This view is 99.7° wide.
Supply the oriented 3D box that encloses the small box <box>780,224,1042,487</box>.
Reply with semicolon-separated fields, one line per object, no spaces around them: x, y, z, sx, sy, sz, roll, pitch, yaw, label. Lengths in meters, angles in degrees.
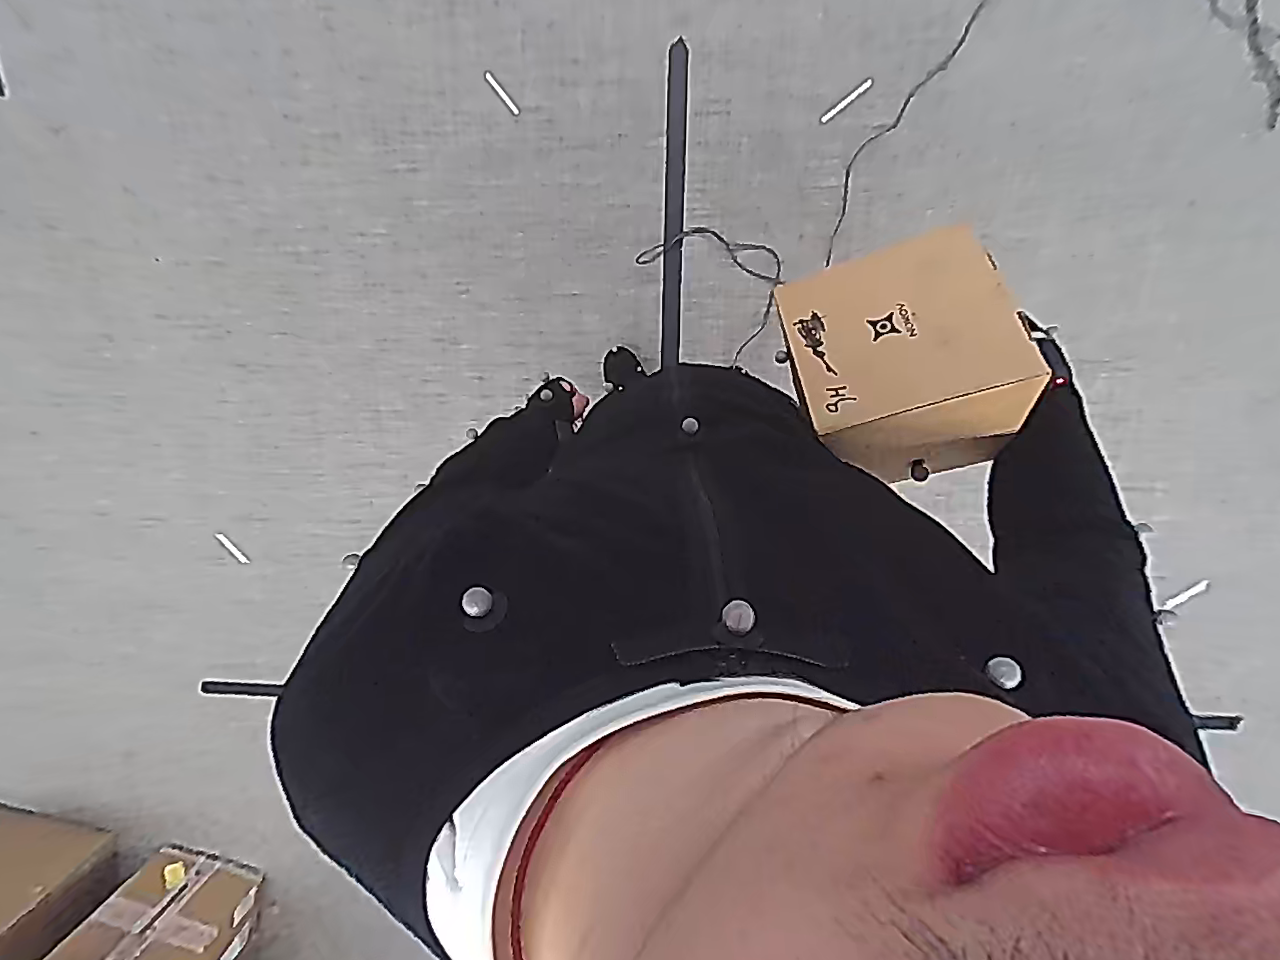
0.252;-0.109;0.545;0.179;0.176;0.168;-15;64;16;small box
